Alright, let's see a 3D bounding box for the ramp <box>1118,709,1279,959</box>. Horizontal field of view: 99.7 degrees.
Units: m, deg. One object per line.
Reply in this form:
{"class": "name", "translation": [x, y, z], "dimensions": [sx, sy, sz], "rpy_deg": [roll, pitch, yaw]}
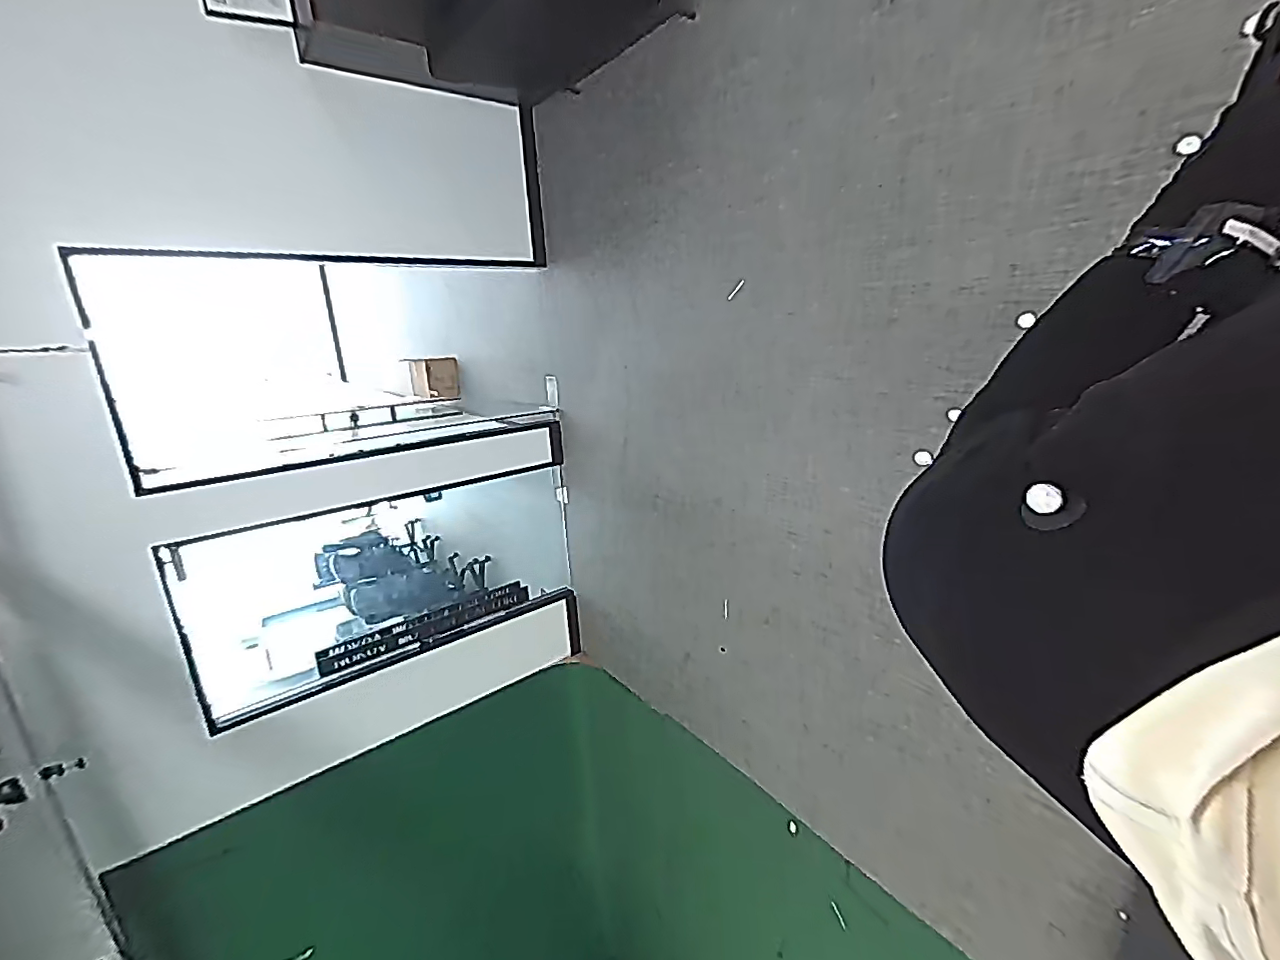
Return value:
{"class": "ramp", "translation": [1.402, 1.065, 1.177], "dimensions": [0.509, 0.206, 0.991], "rpy_deg": [14, 112, 52]}
